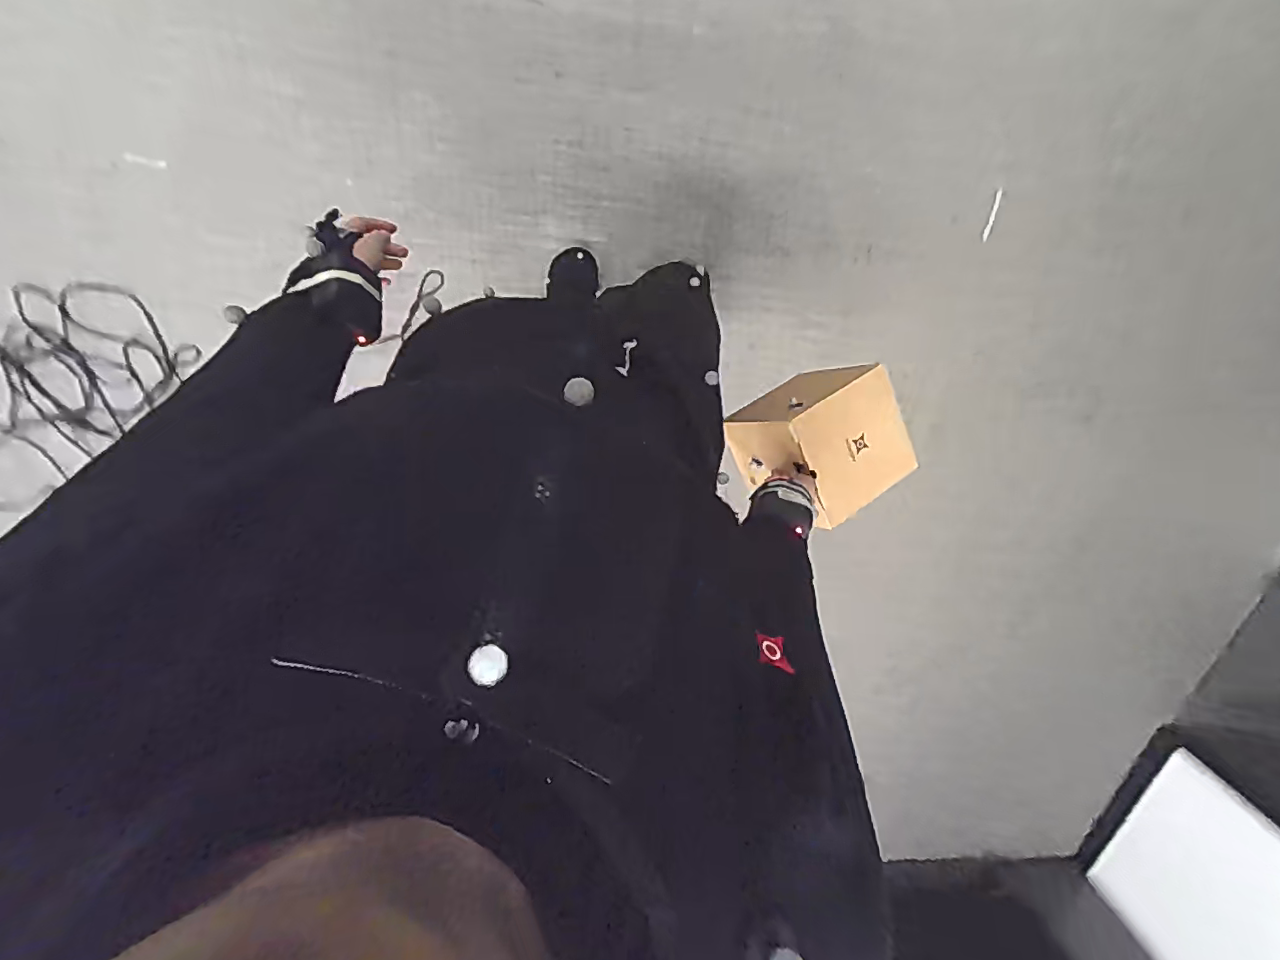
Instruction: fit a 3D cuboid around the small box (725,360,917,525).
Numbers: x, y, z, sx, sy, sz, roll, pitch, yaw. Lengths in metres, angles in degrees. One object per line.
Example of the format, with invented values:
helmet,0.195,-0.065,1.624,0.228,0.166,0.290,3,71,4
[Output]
small box,0.256,-0.060,0.786,0.179,0.176,0.168,-31,107,-17
